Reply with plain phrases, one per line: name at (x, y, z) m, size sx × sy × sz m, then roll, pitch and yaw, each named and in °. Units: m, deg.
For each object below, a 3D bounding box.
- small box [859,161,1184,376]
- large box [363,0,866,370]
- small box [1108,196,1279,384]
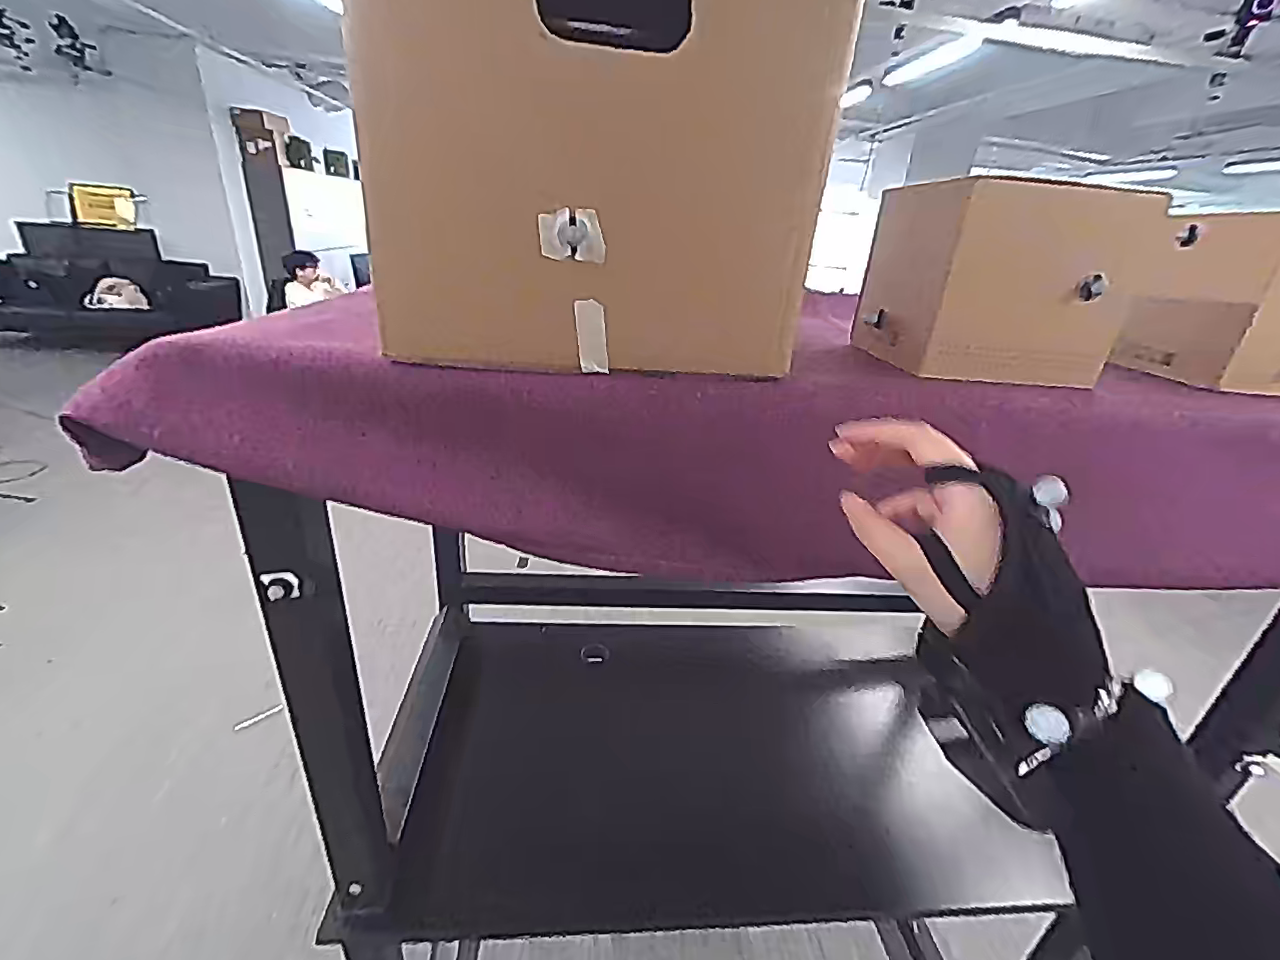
small box at (0.347, -0.203, 0.535) m, size 0.179 × 0.176 × 0.168 m, roll 3°, pitch 24°, yaw -4°
large box at (-0.040, -0.301, 0.519) m, size 0.320 × 0.320 × 0.408 m, roll 2°, pitch 24°, yaw -8°
small box at (0.667, -0.198, 0.574) m, size 0.179 × 0.176 × 0.168 m, roll 4°, pitch 24°, yaw -1°
